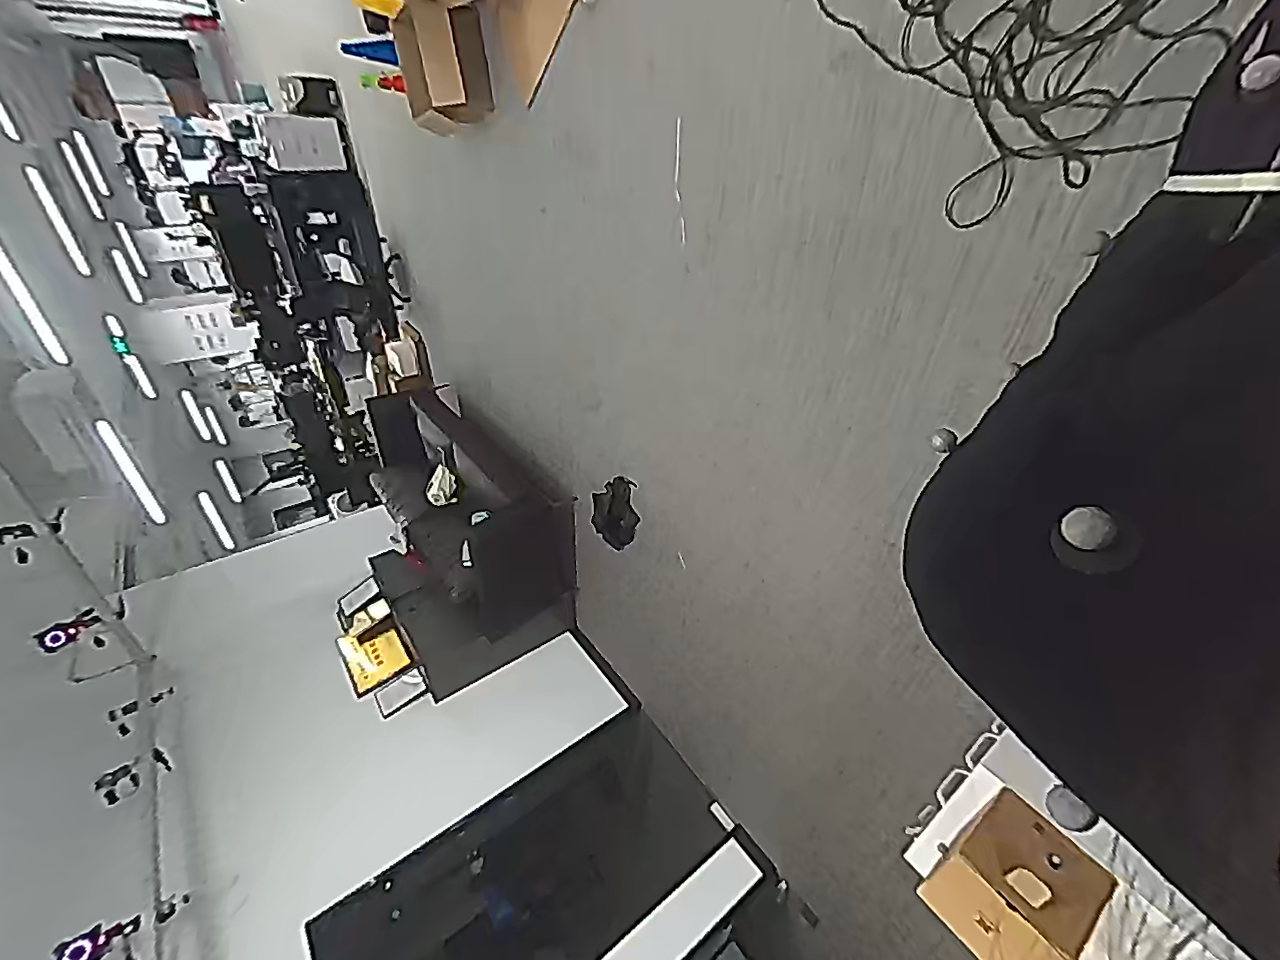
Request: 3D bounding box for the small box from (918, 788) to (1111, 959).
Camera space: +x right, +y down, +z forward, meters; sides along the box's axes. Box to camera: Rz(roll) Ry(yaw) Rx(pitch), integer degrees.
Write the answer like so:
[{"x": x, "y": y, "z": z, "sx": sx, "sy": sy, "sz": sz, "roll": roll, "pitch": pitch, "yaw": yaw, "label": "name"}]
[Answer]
[{"x": 0.586, "y": 0.636, "z": 0.852, "sx": 0.168, "sy": 0.176, "sz": 0.179, "roll": 40, "pitch": 140, "yaw": 39, "label": "small box"}]
